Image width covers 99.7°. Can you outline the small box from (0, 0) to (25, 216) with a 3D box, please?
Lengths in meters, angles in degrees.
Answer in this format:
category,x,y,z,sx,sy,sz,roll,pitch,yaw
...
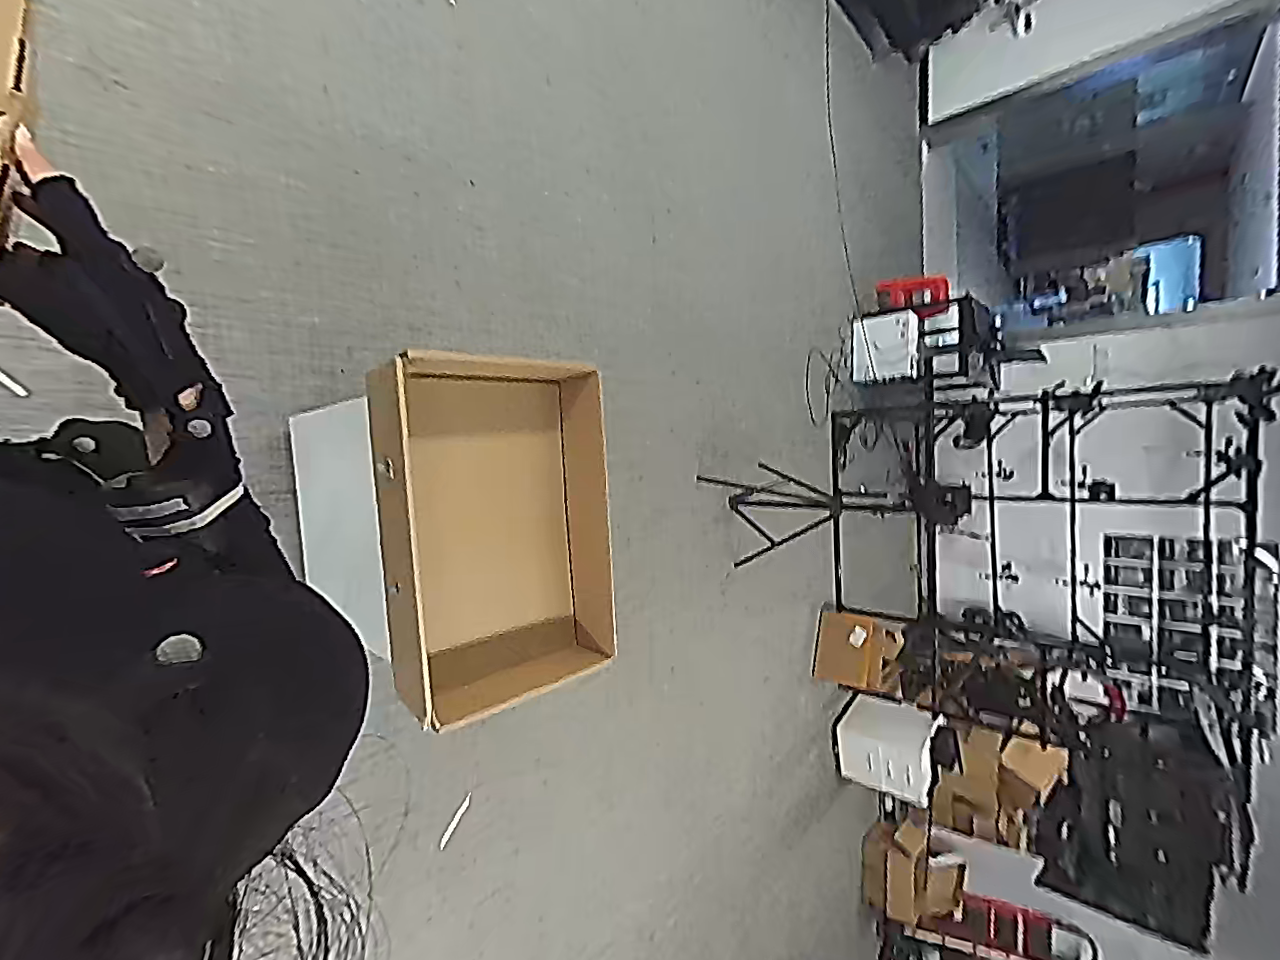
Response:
category,x,y,z,sx,sy,sz,roll,pitch,yaw
small box,-0.484,-0.224,0.299,0.179,0.176,0.168,8,87,-49
